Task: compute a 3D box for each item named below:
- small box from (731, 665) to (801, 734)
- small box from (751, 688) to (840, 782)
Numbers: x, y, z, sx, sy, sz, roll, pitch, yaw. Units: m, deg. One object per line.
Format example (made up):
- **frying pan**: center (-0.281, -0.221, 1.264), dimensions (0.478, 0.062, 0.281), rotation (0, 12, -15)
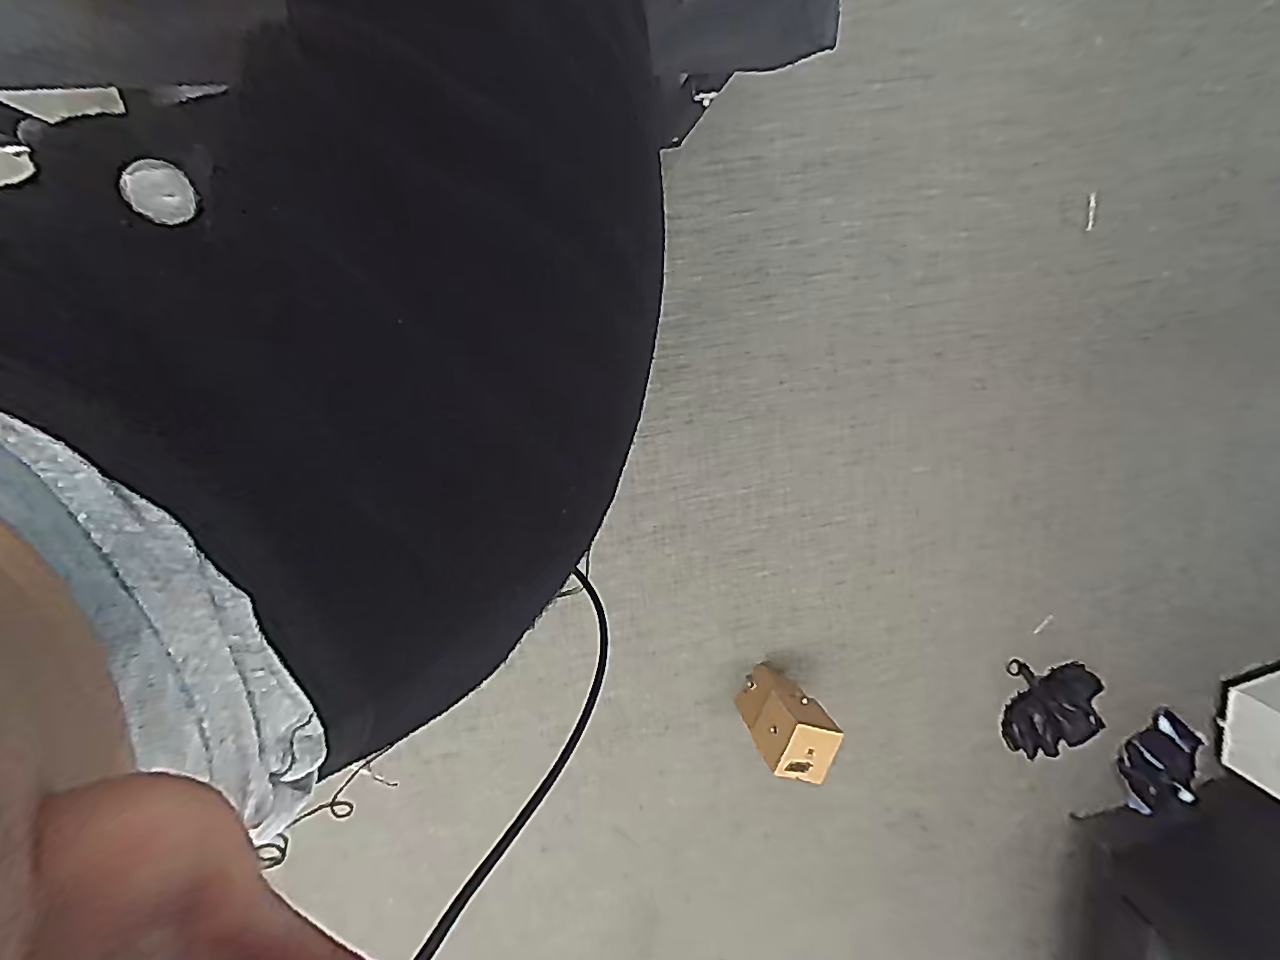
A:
- **small box**: center (0.433, 0.745, 1.786), dimensions (0.179, 0.176, 0.168), rotation (32, 95, -16)
- **small box**: center (0.456, 0.760, 1.621), dimensions (0.168, 0.176, 0.179), rotation (19, 98, -16)
